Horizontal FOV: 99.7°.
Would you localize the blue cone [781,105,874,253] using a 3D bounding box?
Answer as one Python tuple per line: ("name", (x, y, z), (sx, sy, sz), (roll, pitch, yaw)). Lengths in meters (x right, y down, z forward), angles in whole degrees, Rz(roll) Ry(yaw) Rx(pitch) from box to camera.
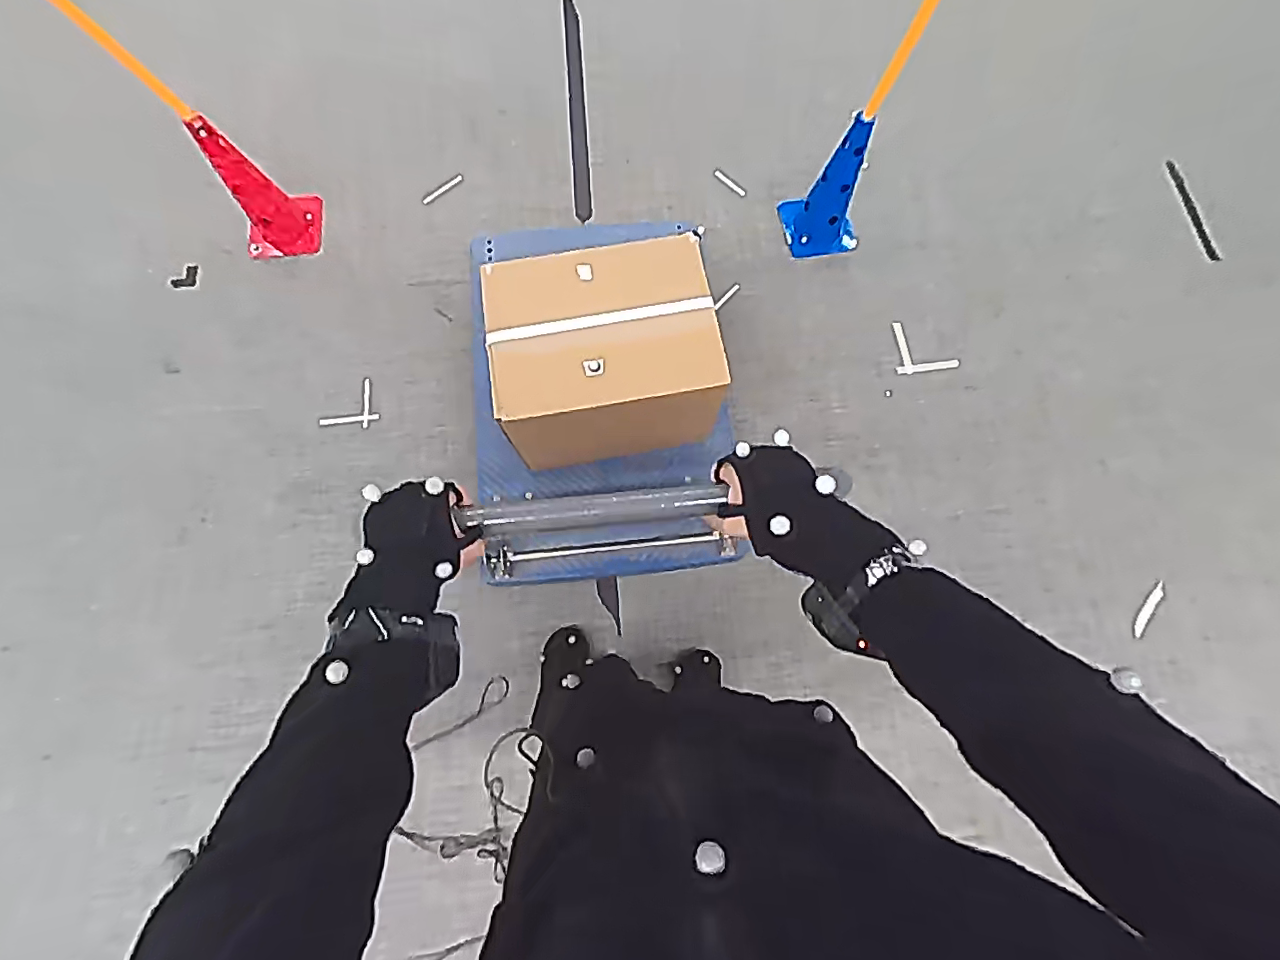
("blue cone", (0.528, -0.798, 1.433), (0.193, 0.380, 0.192), (-9, 74, -4))
